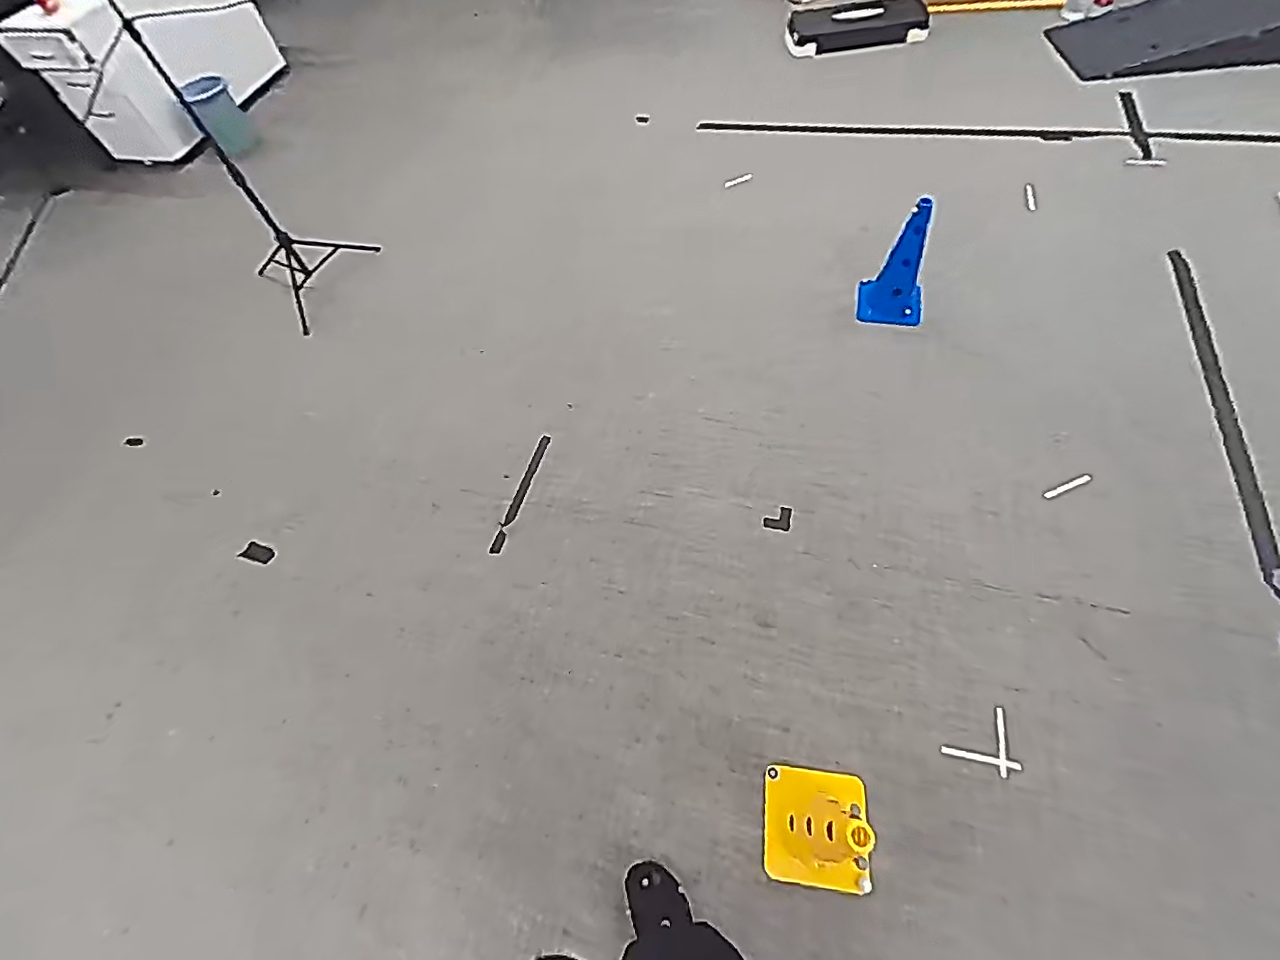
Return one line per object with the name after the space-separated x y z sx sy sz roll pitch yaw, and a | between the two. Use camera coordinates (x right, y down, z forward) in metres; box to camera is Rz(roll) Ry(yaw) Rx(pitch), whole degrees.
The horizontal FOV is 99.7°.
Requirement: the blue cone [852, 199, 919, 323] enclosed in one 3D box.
0.791 -0.677 1.661 0.192 0.380 0.193 10 60 14 | blue cone
